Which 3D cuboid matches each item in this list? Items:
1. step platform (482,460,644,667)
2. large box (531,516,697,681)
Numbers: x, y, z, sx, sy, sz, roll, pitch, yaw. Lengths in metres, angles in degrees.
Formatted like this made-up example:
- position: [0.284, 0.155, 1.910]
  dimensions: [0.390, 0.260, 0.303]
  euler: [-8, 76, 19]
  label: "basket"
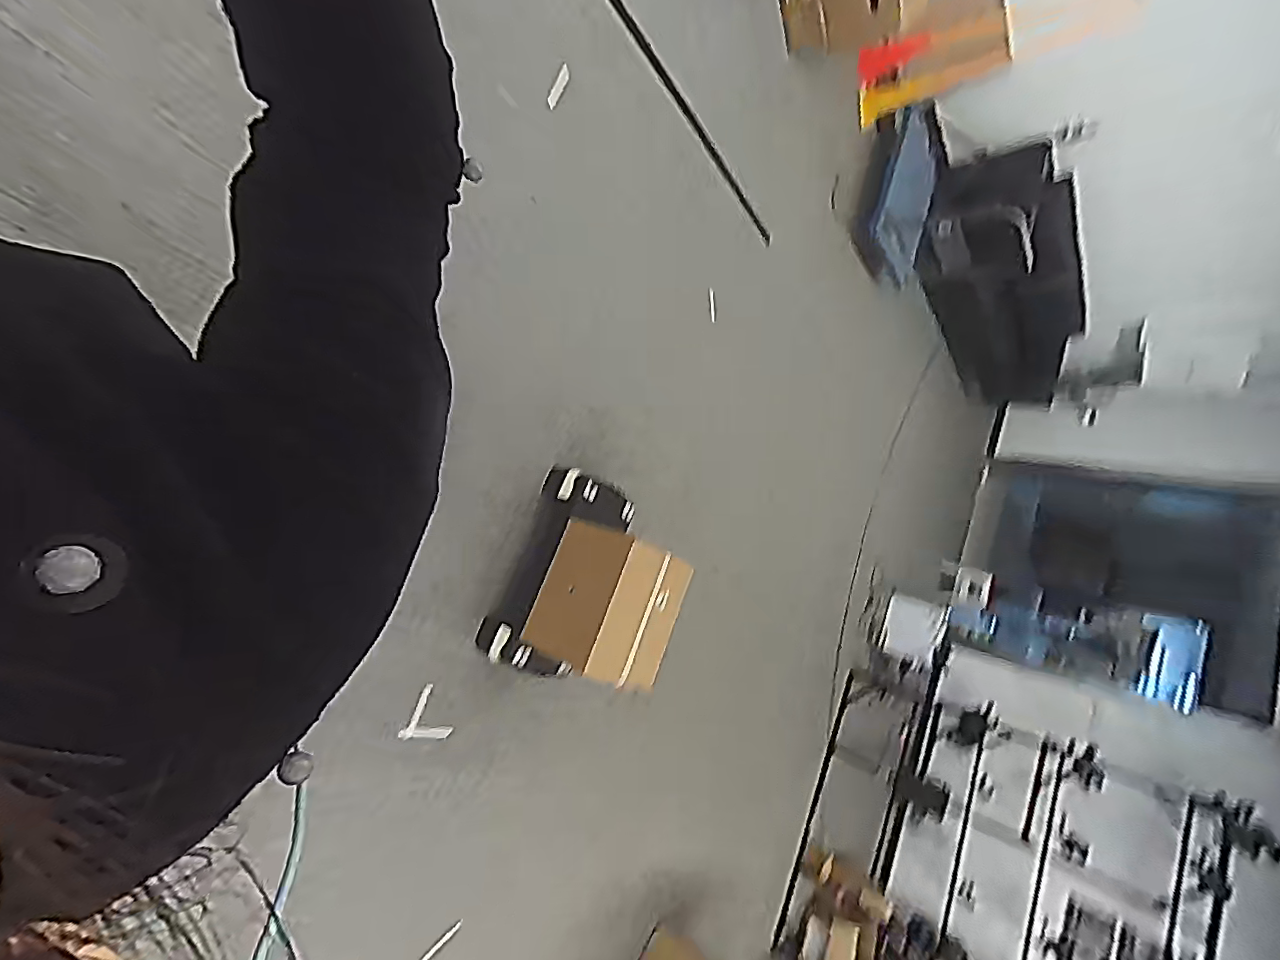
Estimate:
- position: [-0.241, 0.280, 1.850]
  dimensions: [0.286, 0.204, 0.684]
  euler: [39, 69, -42]
  label: "step platform"
- position: [-0.079, 0.365, 1.686]
  dimensions: [0.320, 0.320, 0.408]
  euler: [31, 74, -44]
  label: "large box"
